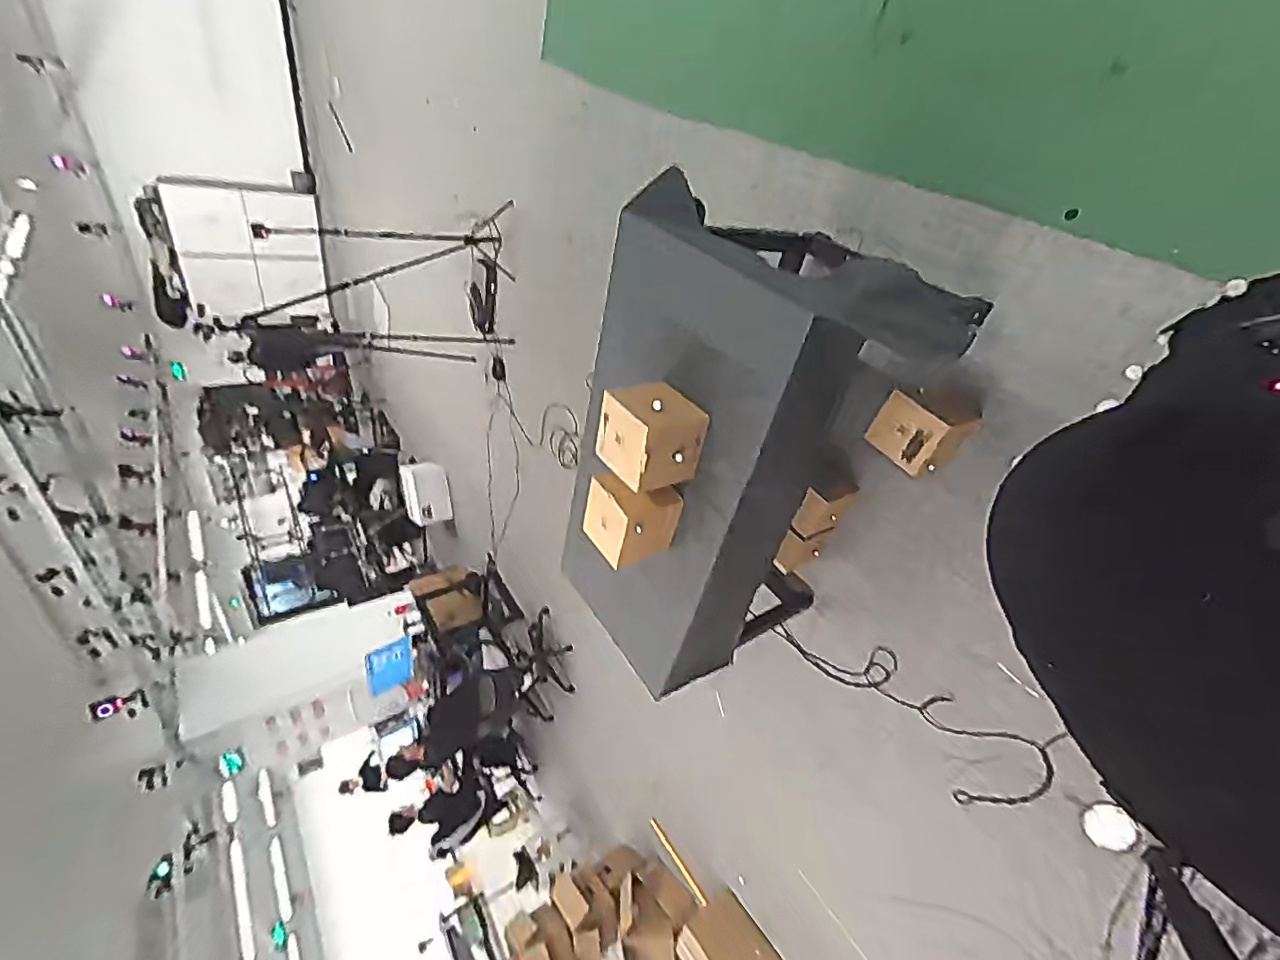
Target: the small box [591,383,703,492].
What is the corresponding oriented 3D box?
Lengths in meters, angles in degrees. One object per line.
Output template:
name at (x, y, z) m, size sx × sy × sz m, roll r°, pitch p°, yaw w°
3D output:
small box at (0.015, -0.103, 1.198) m, size 0.179 × 0.176 × 0.168 m, roll 43°, pitch 135°, yaw 37°
